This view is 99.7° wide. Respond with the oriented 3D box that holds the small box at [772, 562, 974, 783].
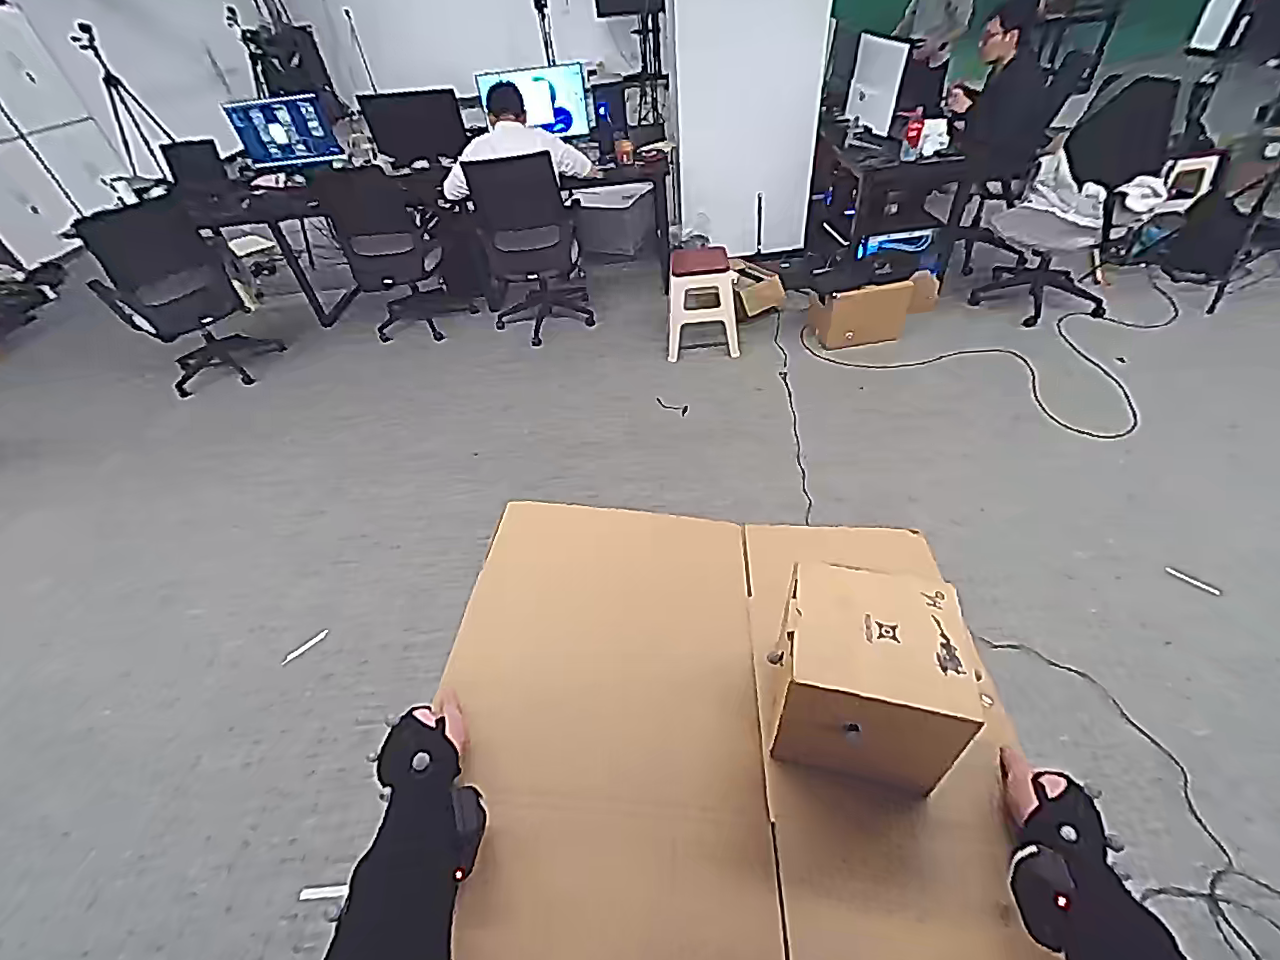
[{"bbox_3d":[0.252,0.222,0.628,0.179,0.176,0.168,7,41,13],"label":"small box"}]
